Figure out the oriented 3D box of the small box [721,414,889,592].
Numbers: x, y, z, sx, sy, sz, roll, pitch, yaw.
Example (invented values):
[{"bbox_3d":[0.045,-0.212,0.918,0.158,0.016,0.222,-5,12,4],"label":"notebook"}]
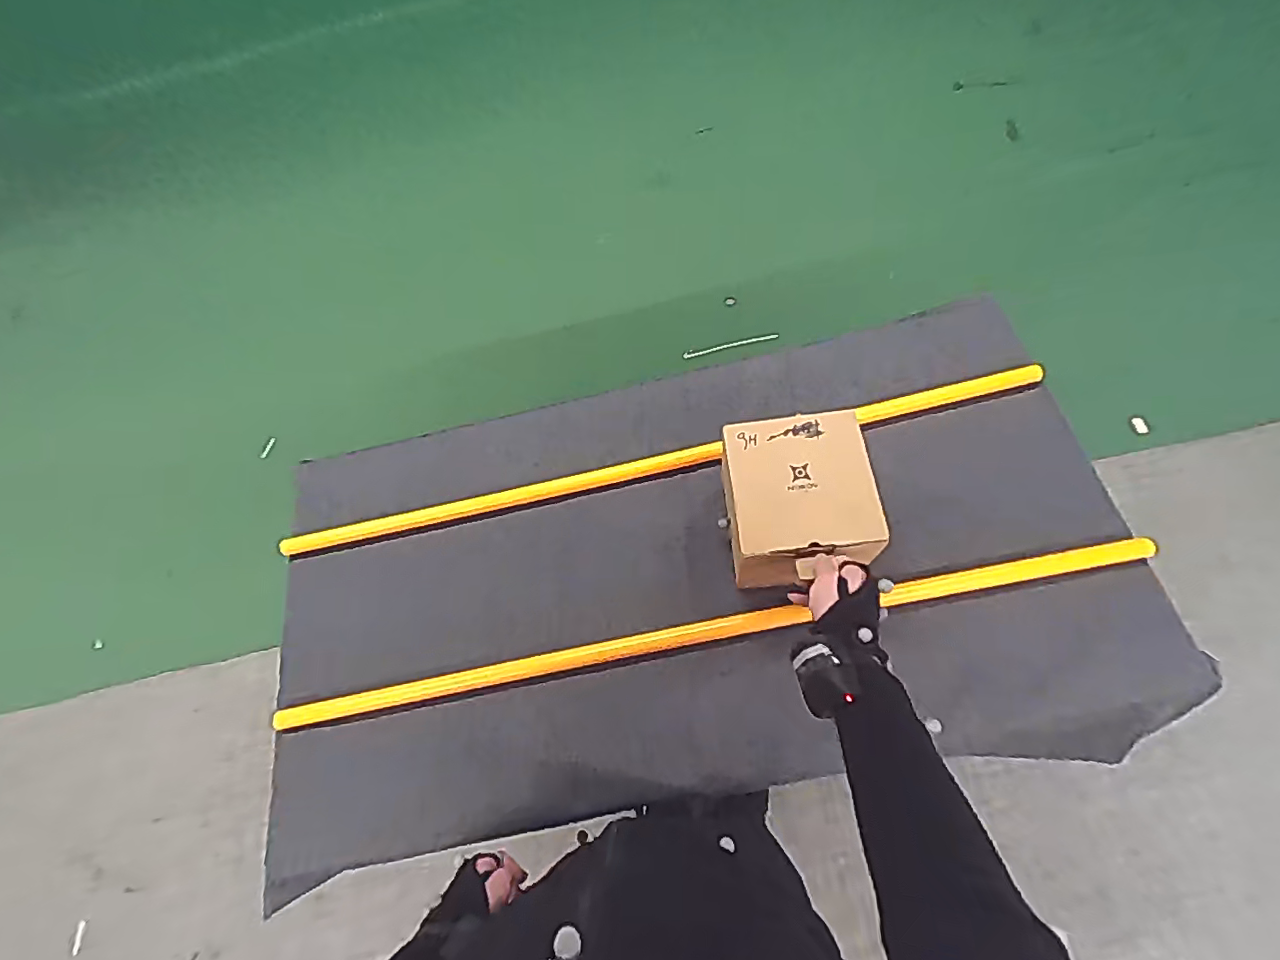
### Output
[{"bbox_3d":[0.207,0.042,0.718,0.168,0.176,0.179,-10,63,6],"label":"small box"}]
